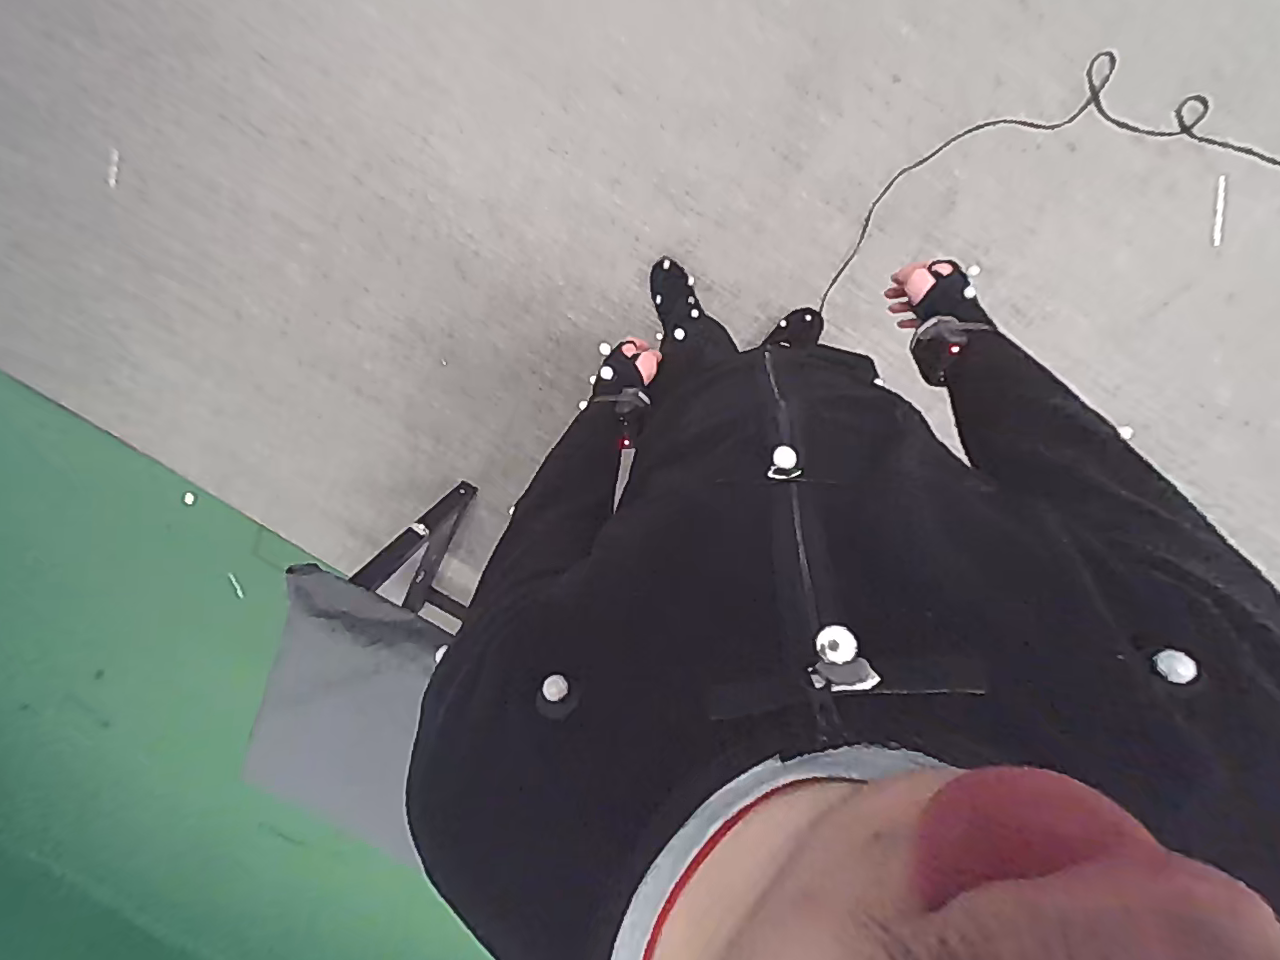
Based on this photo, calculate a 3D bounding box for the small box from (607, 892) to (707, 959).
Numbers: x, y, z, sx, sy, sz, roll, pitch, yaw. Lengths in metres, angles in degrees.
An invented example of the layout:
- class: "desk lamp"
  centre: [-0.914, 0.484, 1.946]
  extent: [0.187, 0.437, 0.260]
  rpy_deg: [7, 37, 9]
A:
- class: "small box"
  centre: [0.032, 1.038, 1.160]
  extent: [0.168, 0.176, 0.179]
  rpy_deg: [33, 113, -3]
